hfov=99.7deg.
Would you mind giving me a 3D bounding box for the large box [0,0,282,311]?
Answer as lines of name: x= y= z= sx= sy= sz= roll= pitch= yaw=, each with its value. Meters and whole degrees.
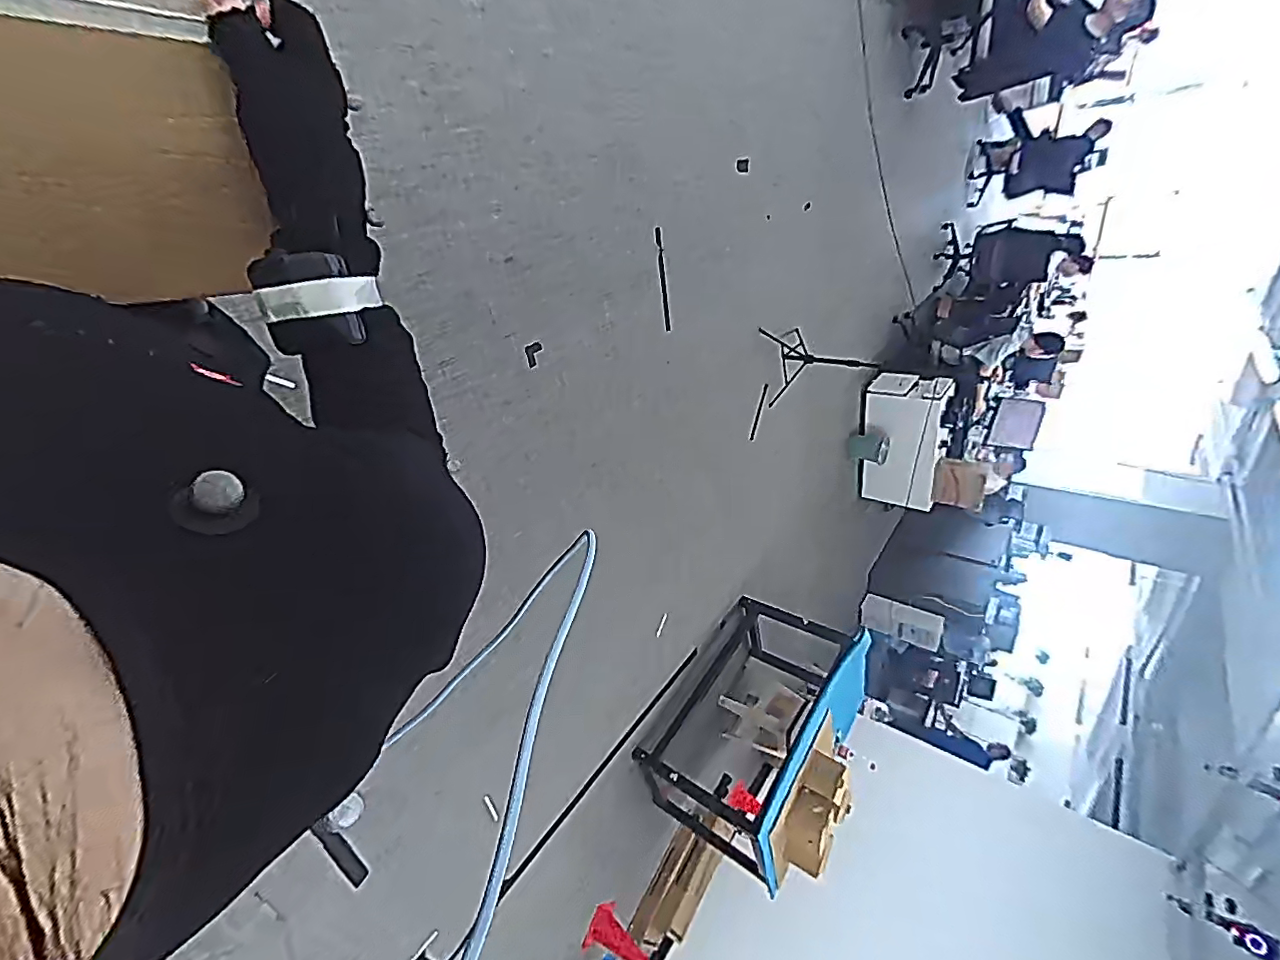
large box: x=-0.481 y=-0.286 z=0.265 sx=0.408 sy=0.320 sz=0.320 roll=-26 pitch=144 yaw=-39
